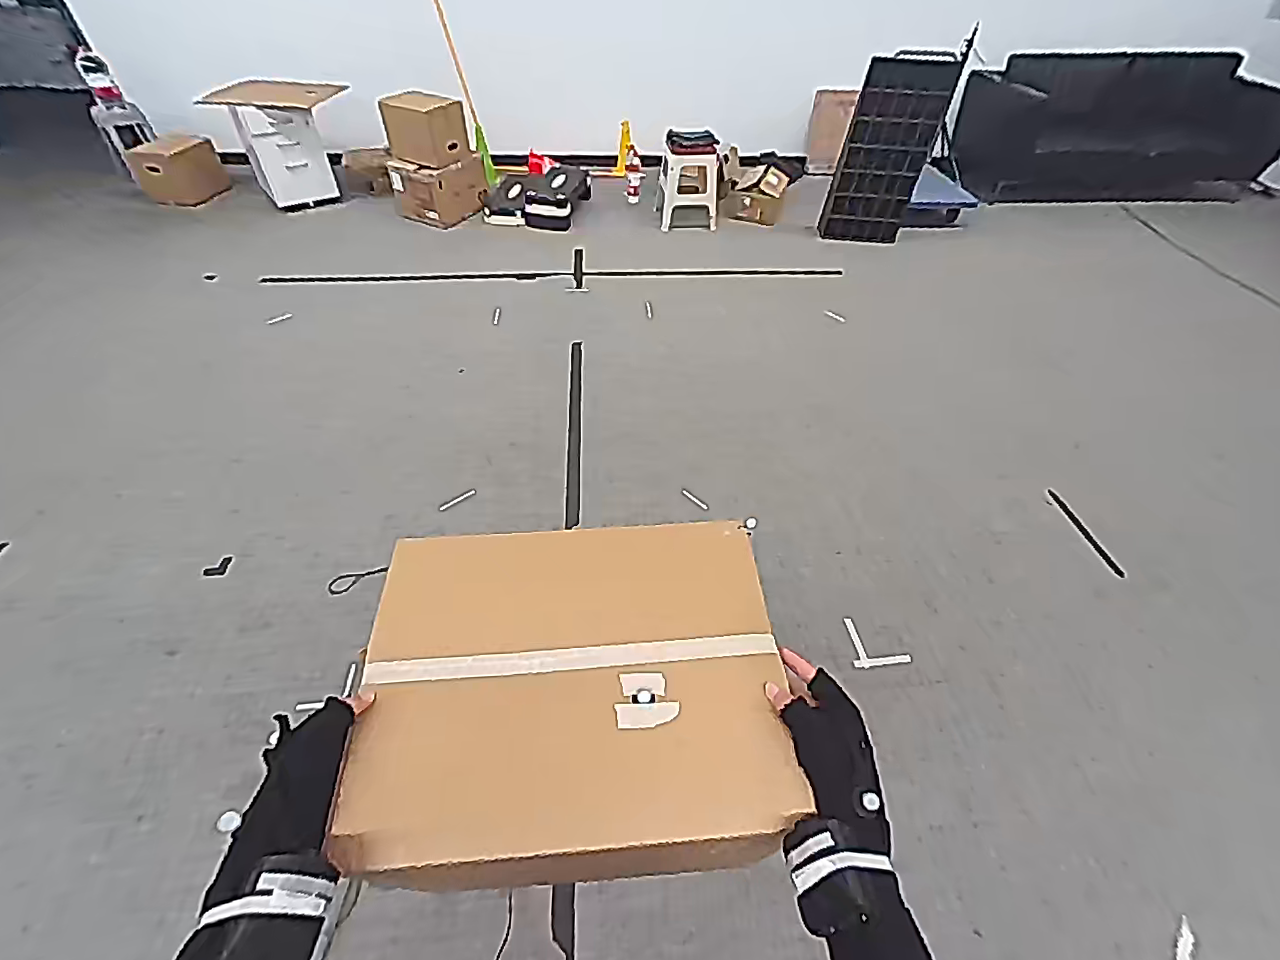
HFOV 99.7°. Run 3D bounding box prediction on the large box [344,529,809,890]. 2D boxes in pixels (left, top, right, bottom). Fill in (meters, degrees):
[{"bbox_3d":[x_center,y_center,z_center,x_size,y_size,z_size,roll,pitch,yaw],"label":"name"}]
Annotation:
[{"bbox_3d":[-0.064,0.283,0.664,0.408,0.320,0.320,-3,51,-4],"label":"large box"}]
